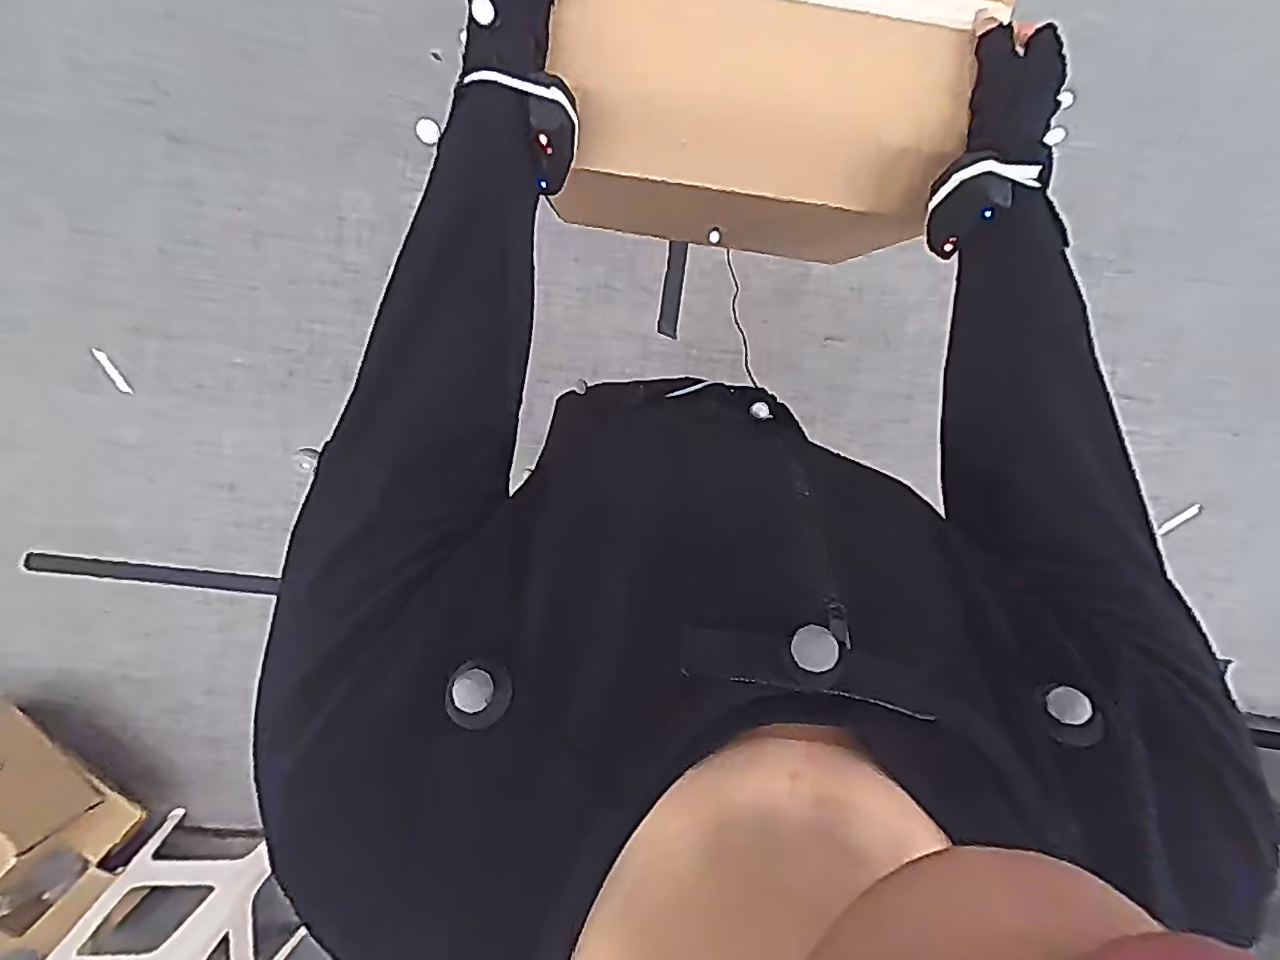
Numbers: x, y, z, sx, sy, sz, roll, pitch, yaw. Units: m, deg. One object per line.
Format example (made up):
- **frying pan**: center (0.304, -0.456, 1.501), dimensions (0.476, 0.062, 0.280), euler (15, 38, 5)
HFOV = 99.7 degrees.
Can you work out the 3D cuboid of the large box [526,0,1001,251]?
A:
- **large box**: center (0.110, -0.458, 0.604), dimensions (0.408, 0.320, 0.320), euler (7, 105, -3)
